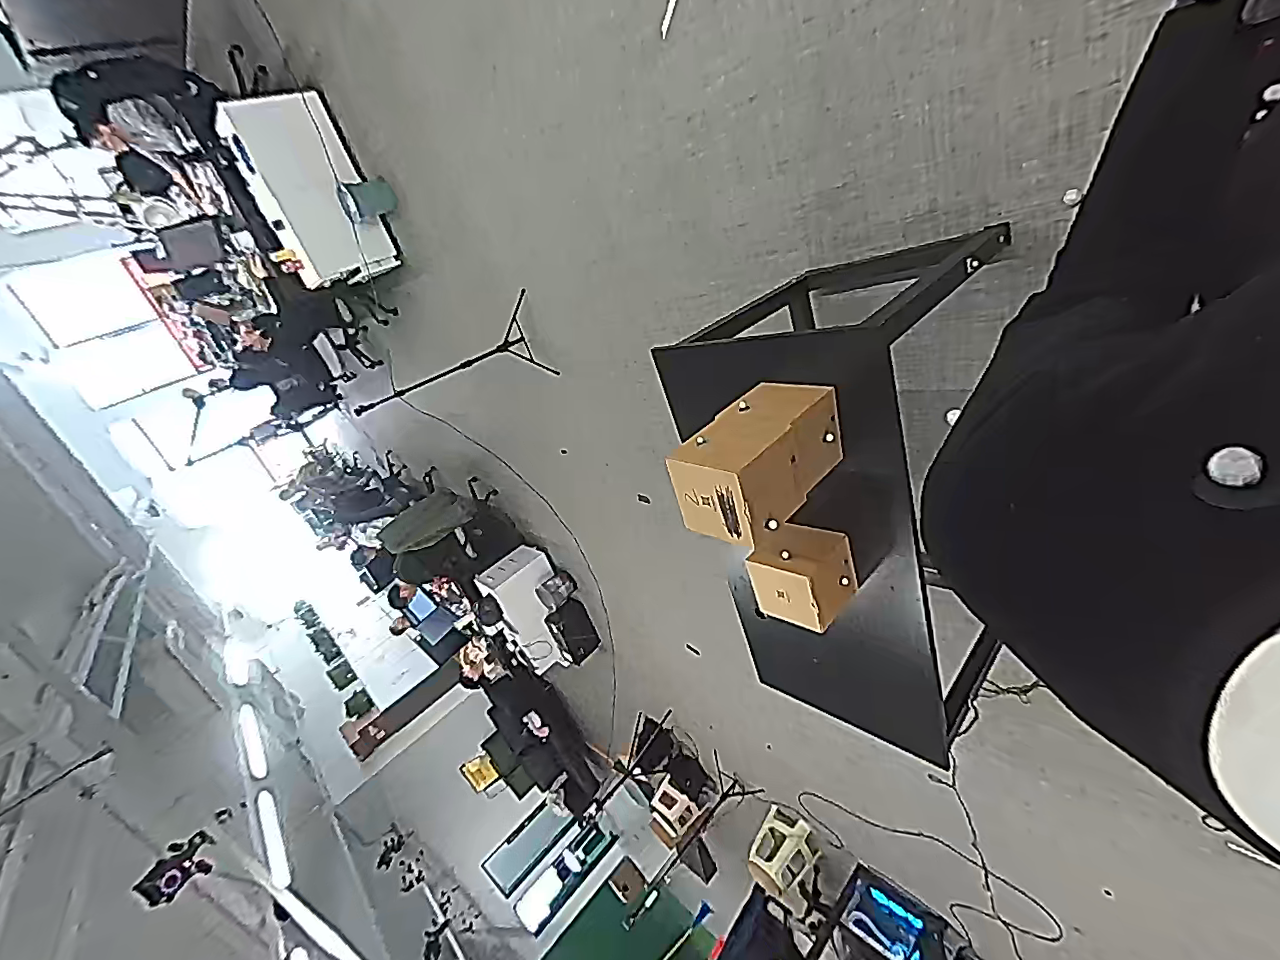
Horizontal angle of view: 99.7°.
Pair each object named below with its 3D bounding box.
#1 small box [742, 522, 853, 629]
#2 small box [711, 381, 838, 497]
[{"bbox_3d":[0.377,0.218,1.287,0.179,0.176,0.168,9,128,49],"label":"small box"},{"bbox_3d":[0.278,-0.092,1.107,0.179,0.176,0.168,16,134,46],"label":"small box"}]
